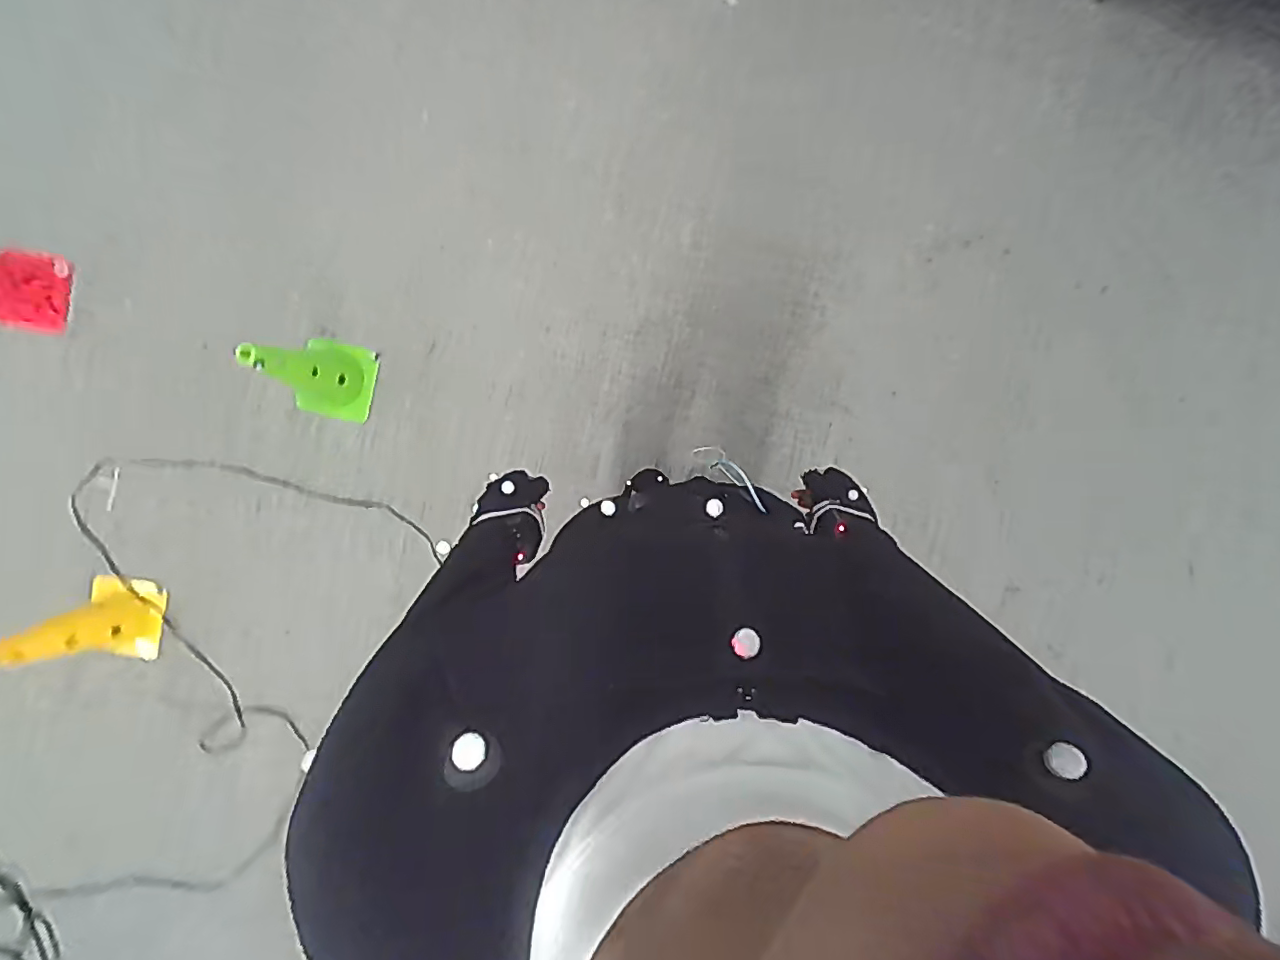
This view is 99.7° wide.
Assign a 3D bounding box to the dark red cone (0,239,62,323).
[{"bbox_3d":[-1.628,-0.517,1.260,0.201,0.394,0.202,9,92,1],"label":"dark red cone"}]

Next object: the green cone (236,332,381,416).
[{"bbox_3d":[-0.816,-0.277,1.292,0.200,0.368,0.202,13,93,0],"label":"green cone"}]
